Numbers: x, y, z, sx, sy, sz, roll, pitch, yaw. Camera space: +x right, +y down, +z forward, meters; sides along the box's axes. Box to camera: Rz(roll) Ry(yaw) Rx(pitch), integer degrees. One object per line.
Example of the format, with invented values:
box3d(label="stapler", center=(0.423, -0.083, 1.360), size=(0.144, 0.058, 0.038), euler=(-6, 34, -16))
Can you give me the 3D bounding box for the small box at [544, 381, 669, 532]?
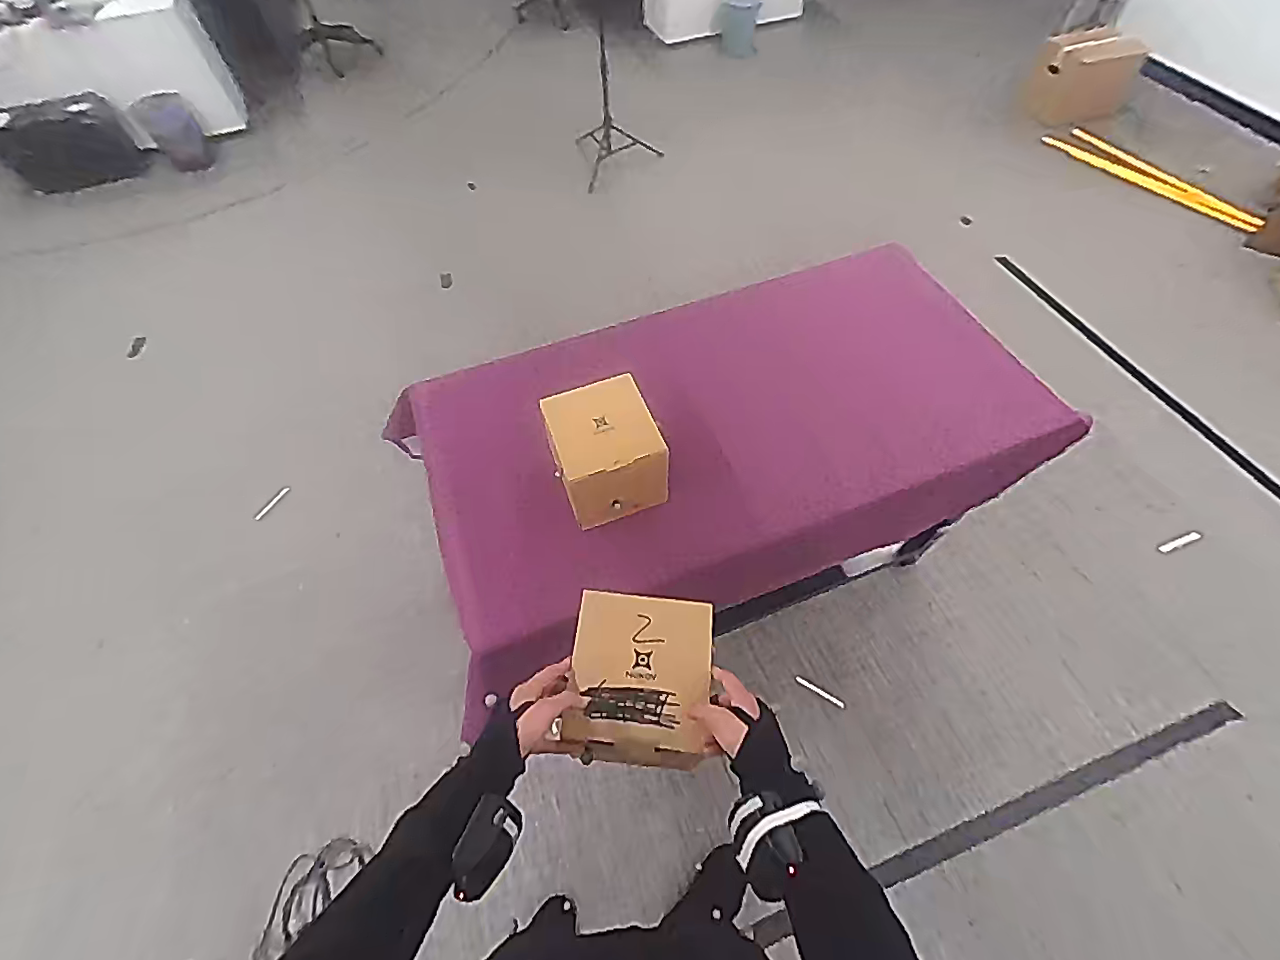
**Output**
box3d(label="small box", center=(-0.058, -0.038, 0.945), size=(0.168, 0.176, 0.179), euler=(-18, 60, -10))
